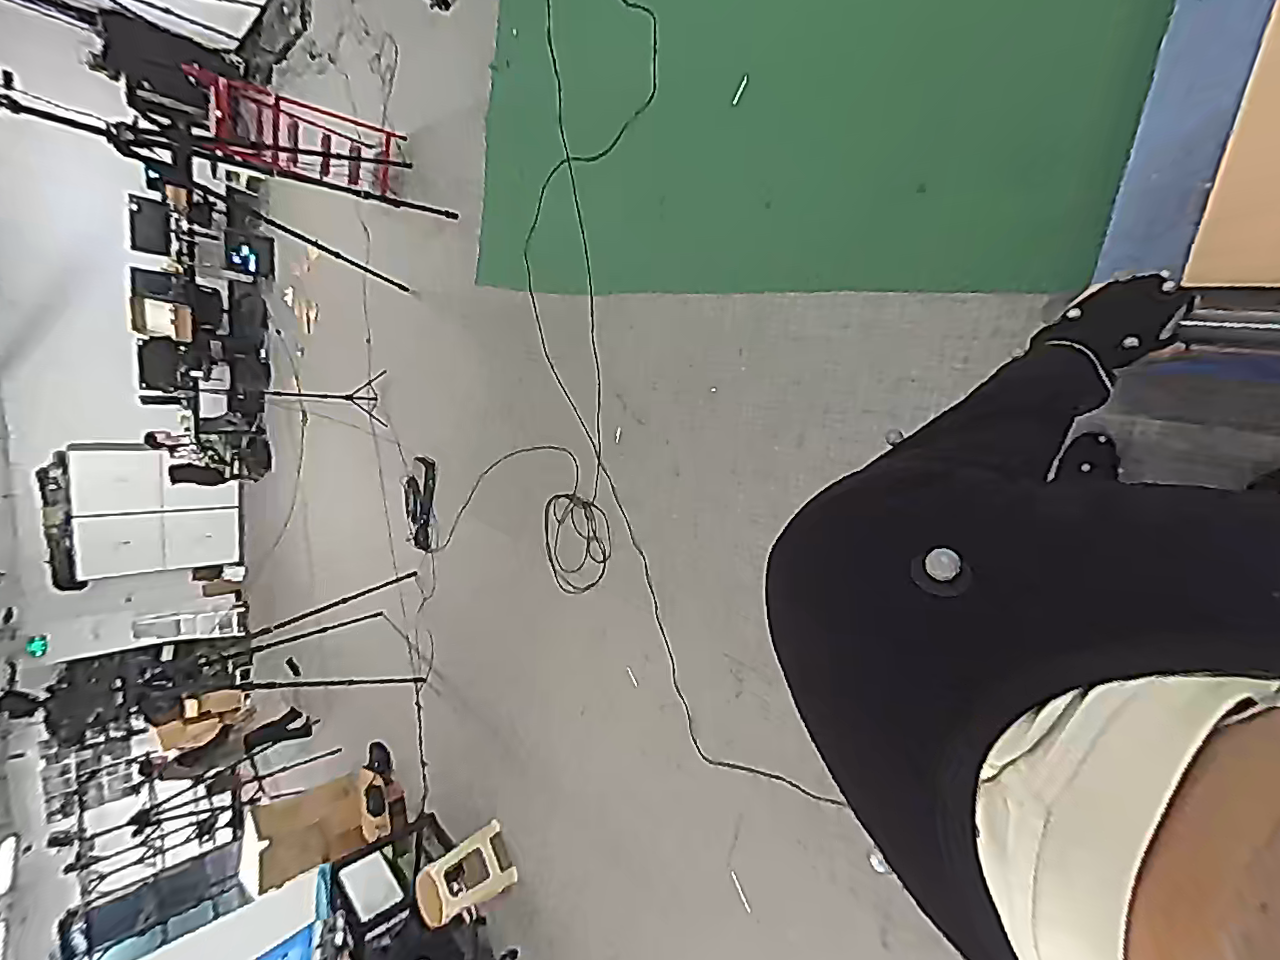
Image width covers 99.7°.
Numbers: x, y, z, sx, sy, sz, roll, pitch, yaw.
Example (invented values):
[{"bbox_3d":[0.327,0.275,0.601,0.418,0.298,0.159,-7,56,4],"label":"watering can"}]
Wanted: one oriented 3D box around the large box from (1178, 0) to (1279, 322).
[{"bbox_3d":[1.067,-0.464,0.806,0.320,0.320,0.408,18,104,41],"label":"large box"}]
